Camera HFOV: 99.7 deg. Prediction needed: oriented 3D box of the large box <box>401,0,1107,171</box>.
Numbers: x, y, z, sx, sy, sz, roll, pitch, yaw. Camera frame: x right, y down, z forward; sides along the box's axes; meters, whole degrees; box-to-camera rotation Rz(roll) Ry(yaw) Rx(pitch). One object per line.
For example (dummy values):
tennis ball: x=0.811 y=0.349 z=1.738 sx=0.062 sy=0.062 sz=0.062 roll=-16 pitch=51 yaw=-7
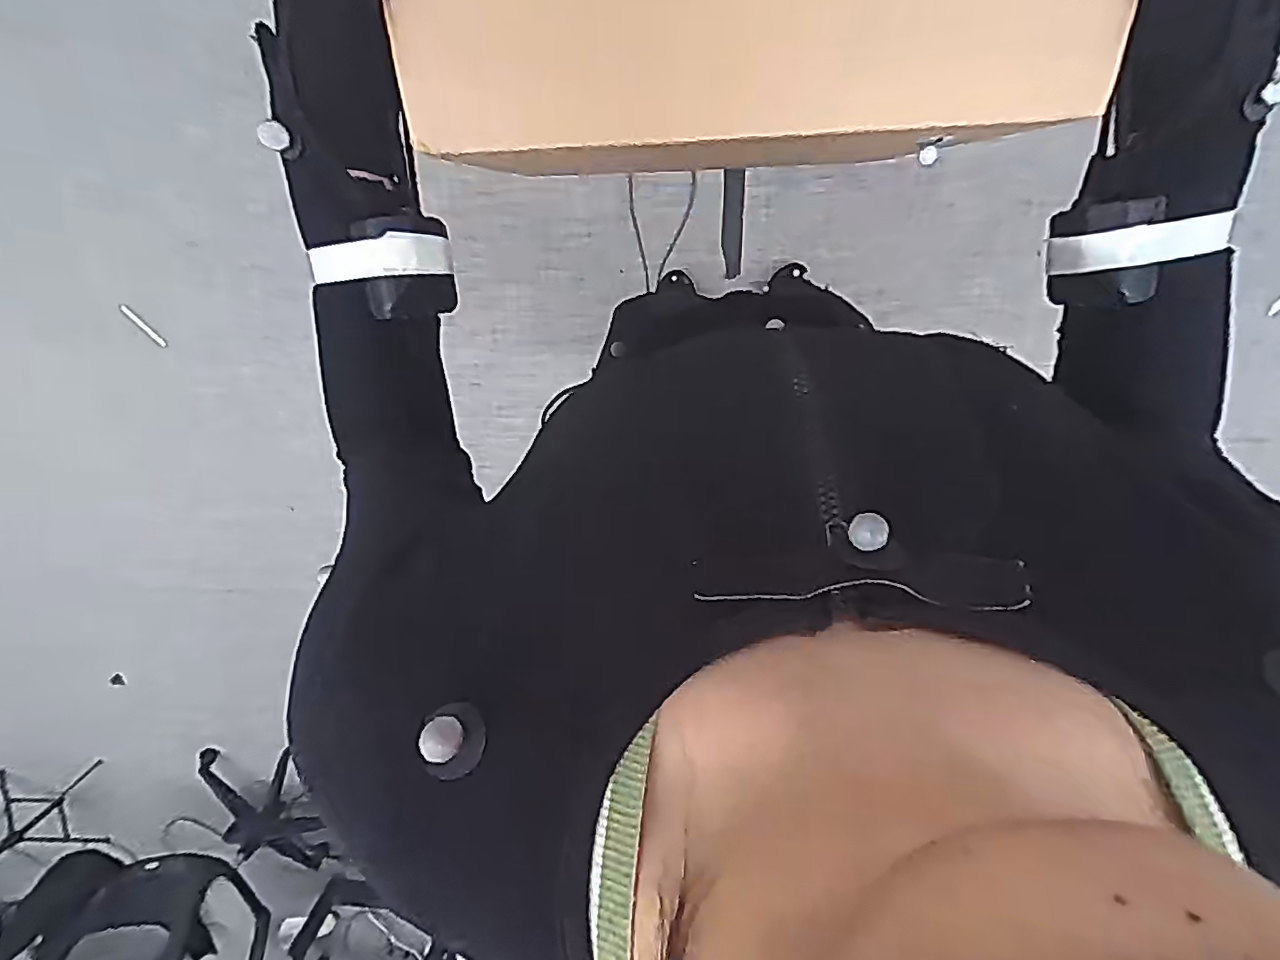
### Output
large box: x=0.062 y=-0.417 z=0.394 sx=0.408 sy=0.320 sz=0.320 roll=-2 pitch=117 yaw=2
